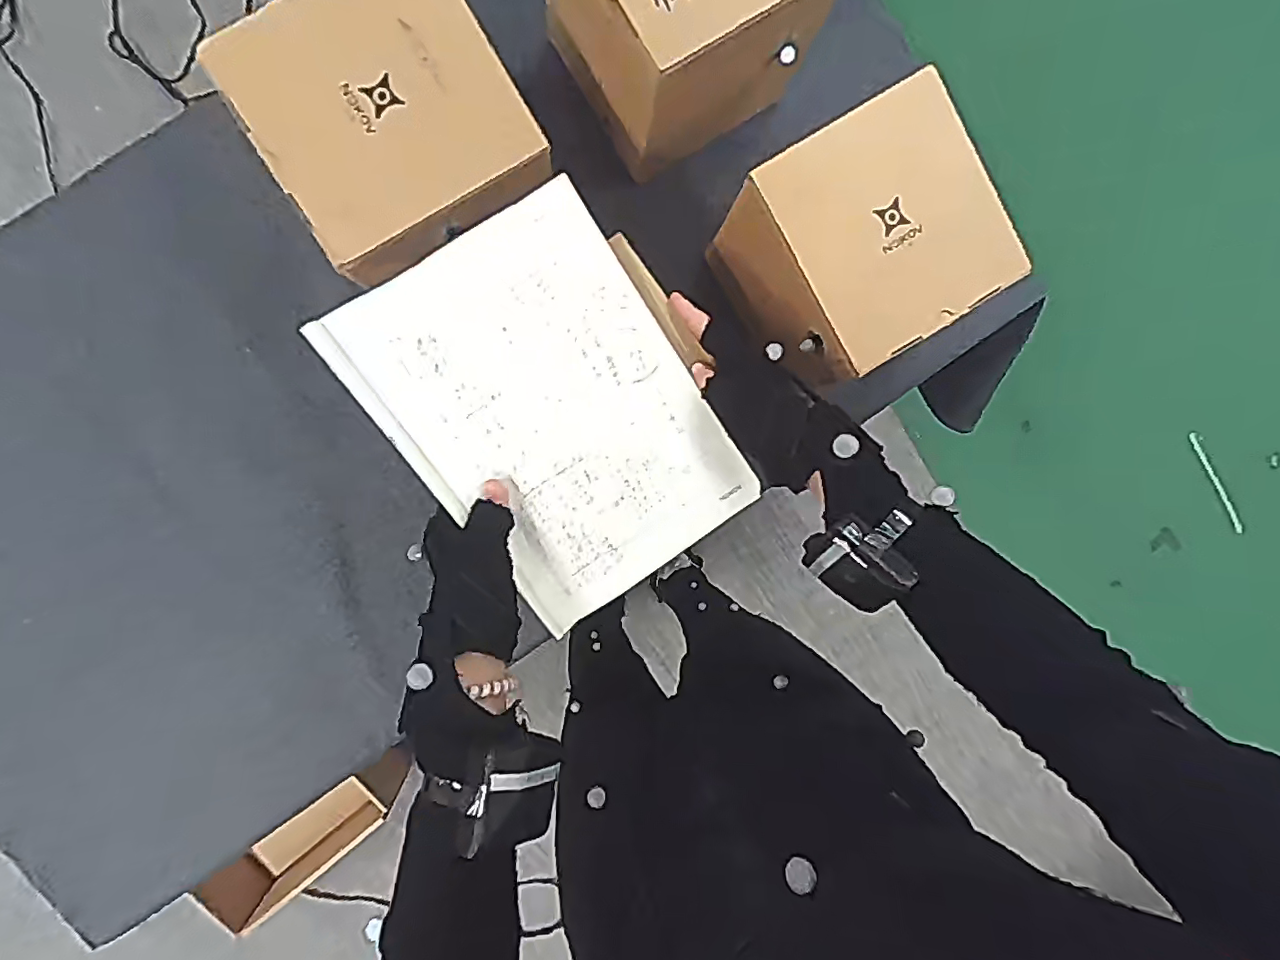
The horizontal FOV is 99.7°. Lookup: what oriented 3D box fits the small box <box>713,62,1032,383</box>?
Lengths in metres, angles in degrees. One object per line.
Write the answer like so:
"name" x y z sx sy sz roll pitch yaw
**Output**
"small box" 0.187 -0.206 0.488 0.168 0.176 0.179 -31 96 -3
